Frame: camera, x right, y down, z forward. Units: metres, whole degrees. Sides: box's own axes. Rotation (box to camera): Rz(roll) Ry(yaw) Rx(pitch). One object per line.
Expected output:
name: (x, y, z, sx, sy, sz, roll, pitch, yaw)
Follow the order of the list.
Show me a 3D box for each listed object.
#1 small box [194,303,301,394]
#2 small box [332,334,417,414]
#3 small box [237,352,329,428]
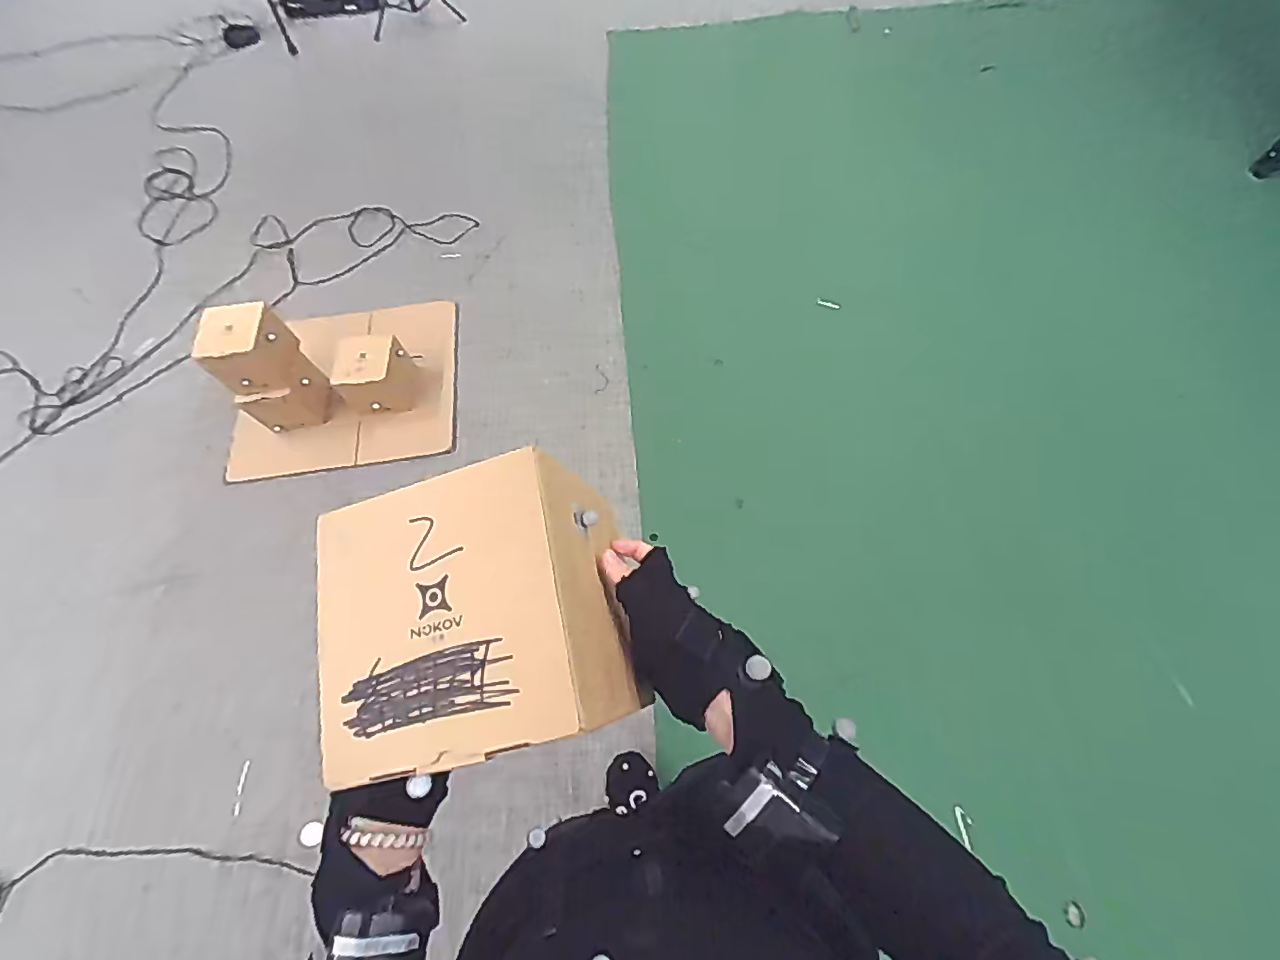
small box: (-1.090, -0.367, 1.519, 0.168, 0.176, 0.179, -7, 65, 0)
small box: (-0.808, -0.324, 1.665, 0.168, 0.176, 0.179, -4, 66, 2)
small box: (-1.082, -0.272, 1.654, 0.168, 0.176, 0.179, -10, 65, -1)
